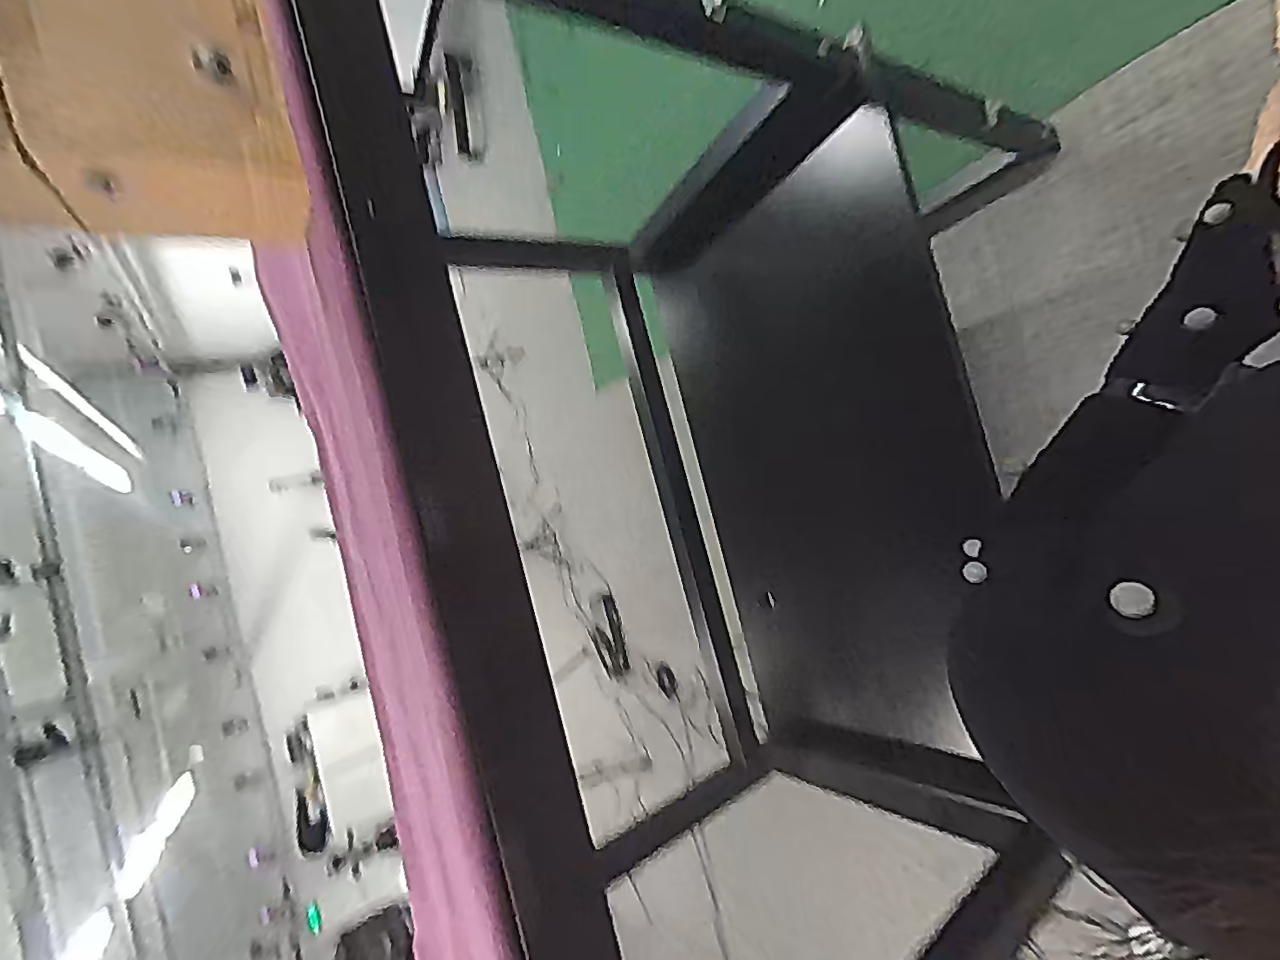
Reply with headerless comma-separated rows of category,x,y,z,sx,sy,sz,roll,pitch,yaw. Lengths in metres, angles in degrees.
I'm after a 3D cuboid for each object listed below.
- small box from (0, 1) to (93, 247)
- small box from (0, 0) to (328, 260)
small box,-0.498,-0.259,0.350,0.179,0.176,0.168,5,107,53
small box,-0.370,-0.291,0.445,0.179,0.176,0.168,-1,101,55
